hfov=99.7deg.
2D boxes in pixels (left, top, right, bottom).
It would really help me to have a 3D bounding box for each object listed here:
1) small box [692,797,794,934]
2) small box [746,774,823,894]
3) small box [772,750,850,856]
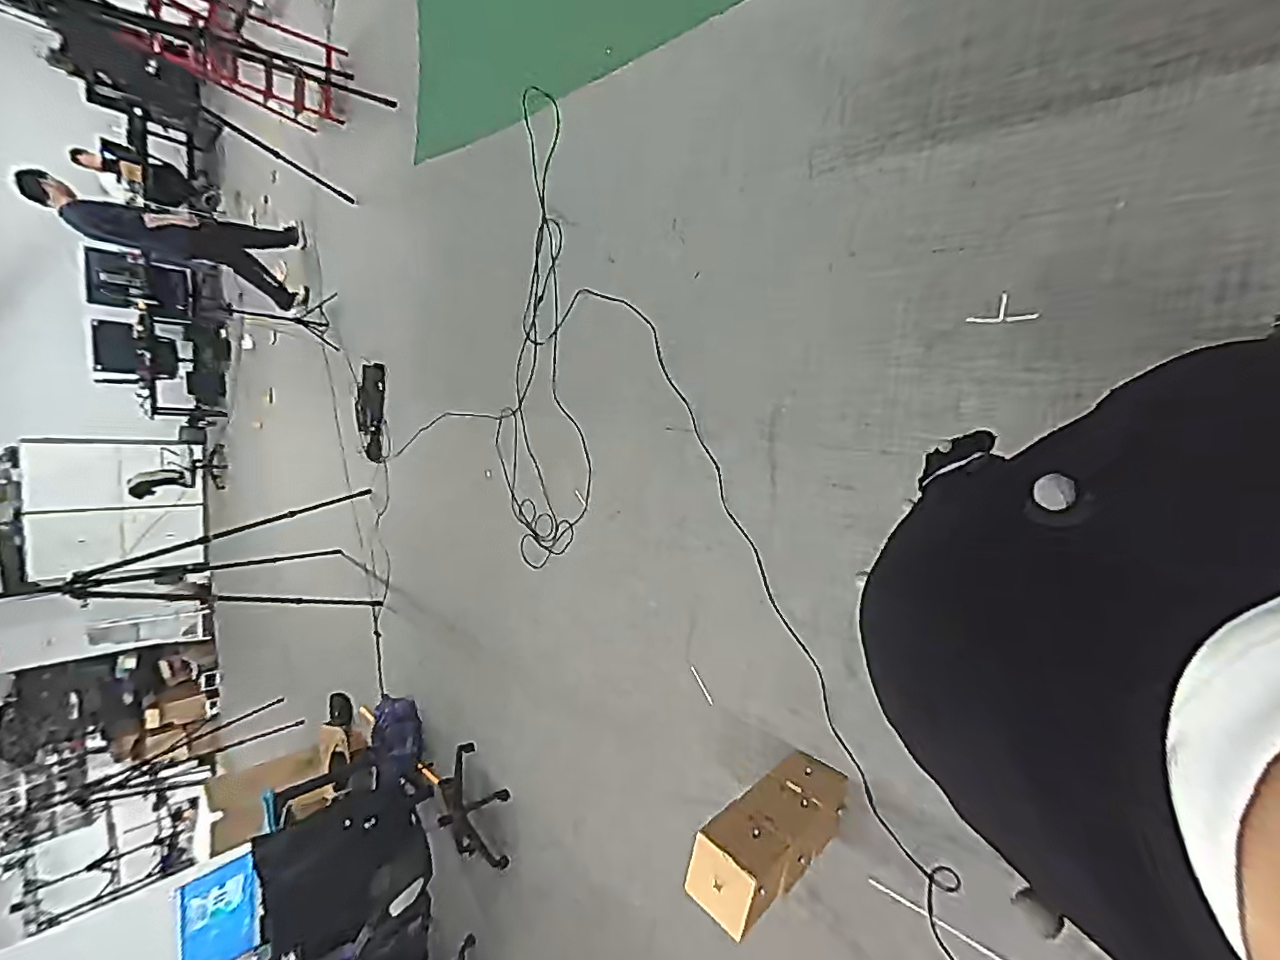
[{"bbox_3d":[0.255,0.933,1.327,0.168,0.176,0.179,20,105,40],"label":"small box"},{"bbox_3d":[0.372,0.929,1.441,0.168,0.176,0.179,14,103,41],"label":"small box"},{"bbox_3d":[0.489,0.918,1.559,0.168,0.176,0.179,10,98,45],"label":"small box"}]
